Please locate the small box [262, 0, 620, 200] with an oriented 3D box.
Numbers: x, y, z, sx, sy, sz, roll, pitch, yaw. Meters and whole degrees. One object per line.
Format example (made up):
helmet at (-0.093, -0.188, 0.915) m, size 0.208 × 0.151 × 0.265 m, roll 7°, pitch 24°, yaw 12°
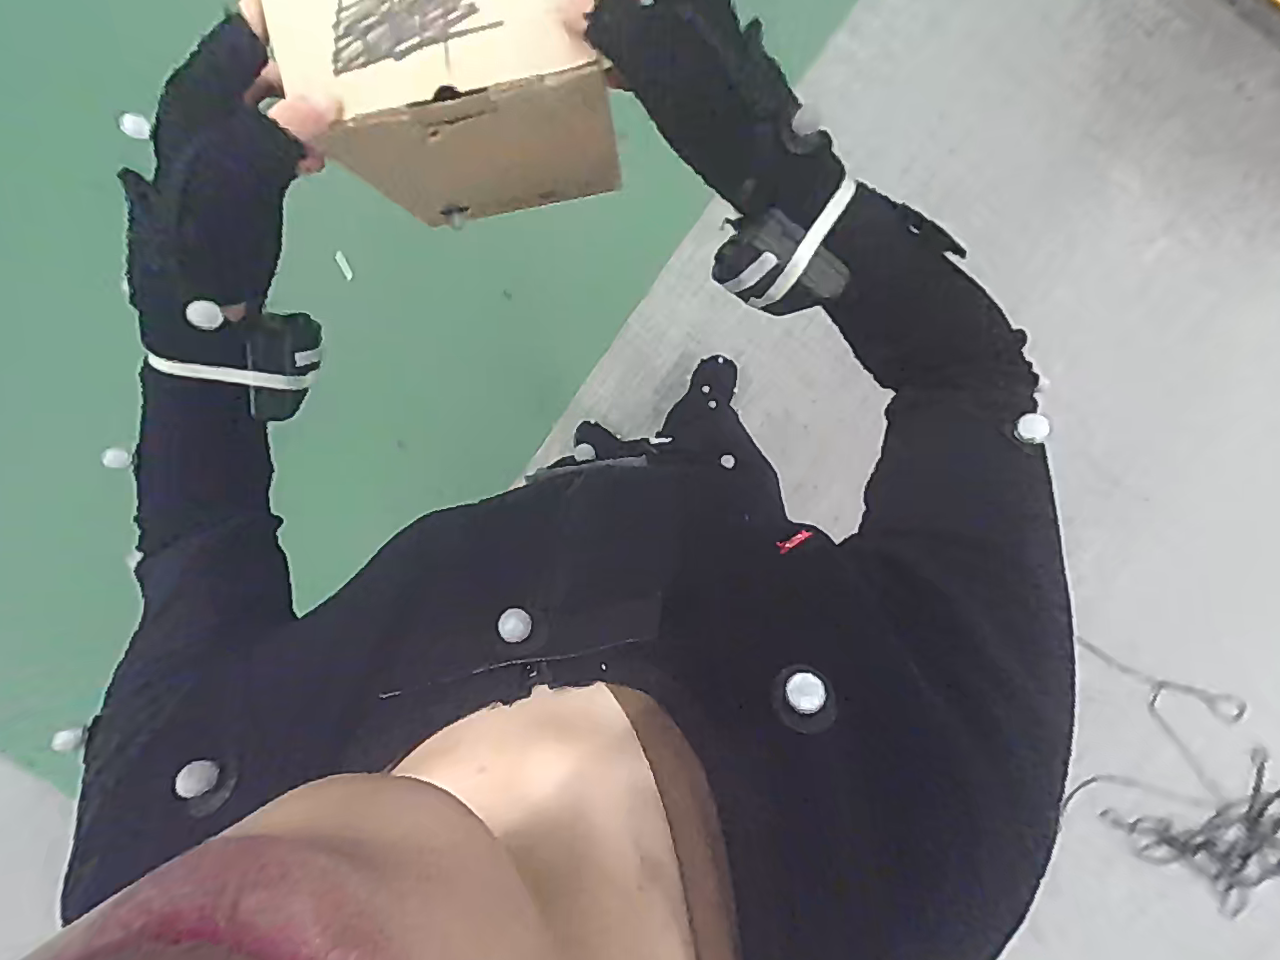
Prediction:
small box at (-0.110, -0.297, 0.339) m, size 0.168 × 0.176 × 0.179 m, roll -9°, pitch 98°, yaw 4°
